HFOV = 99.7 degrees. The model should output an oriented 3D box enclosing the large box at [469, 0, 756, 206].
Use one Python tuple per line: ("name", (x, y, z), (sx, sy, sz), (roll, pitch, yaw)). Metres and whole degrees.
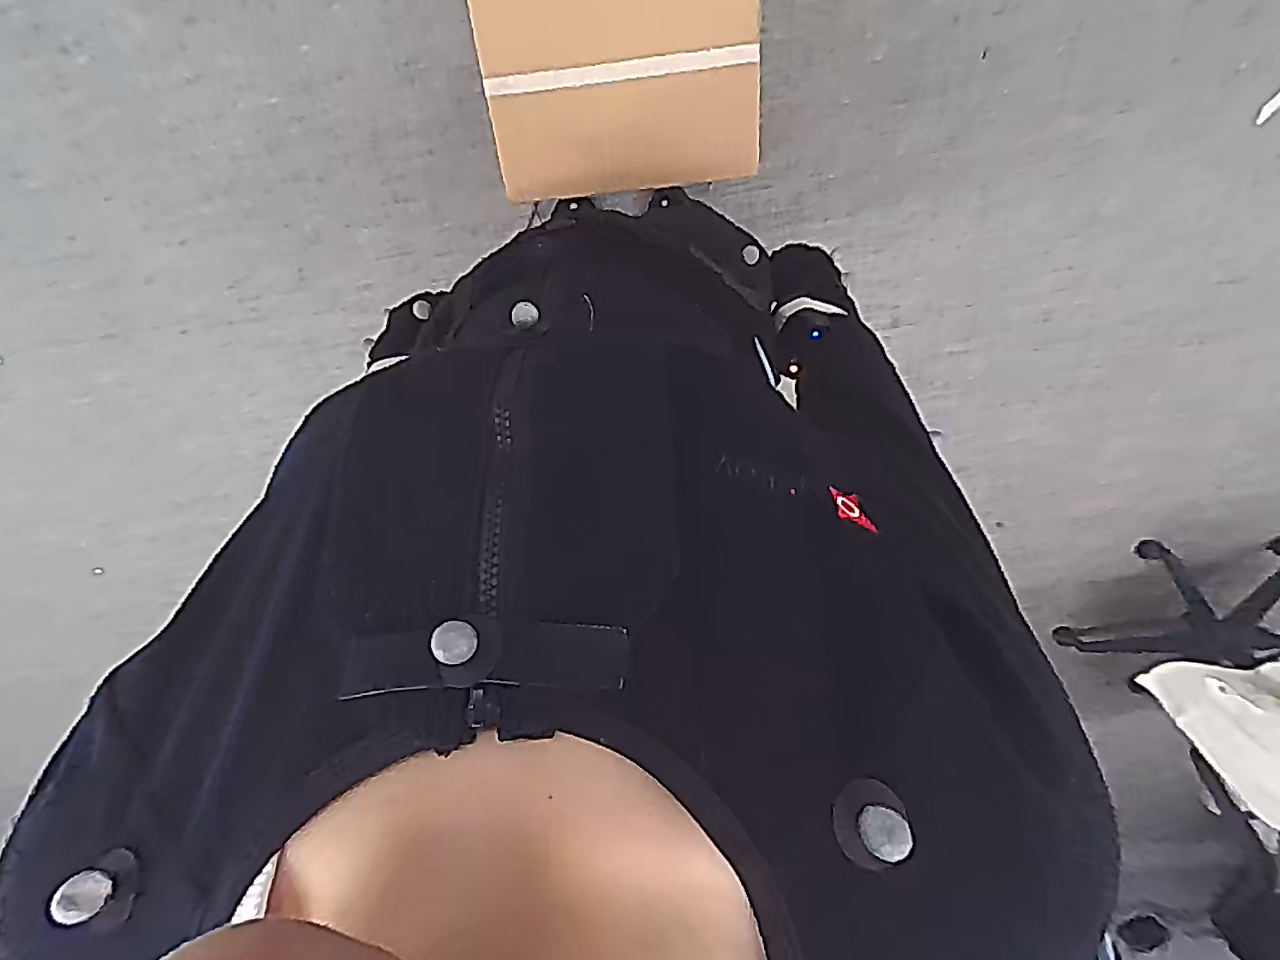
("large box", (-0.029, -0.672, 0.920), (0.408, 0.320, 0.320), (-5, 120, 3))
